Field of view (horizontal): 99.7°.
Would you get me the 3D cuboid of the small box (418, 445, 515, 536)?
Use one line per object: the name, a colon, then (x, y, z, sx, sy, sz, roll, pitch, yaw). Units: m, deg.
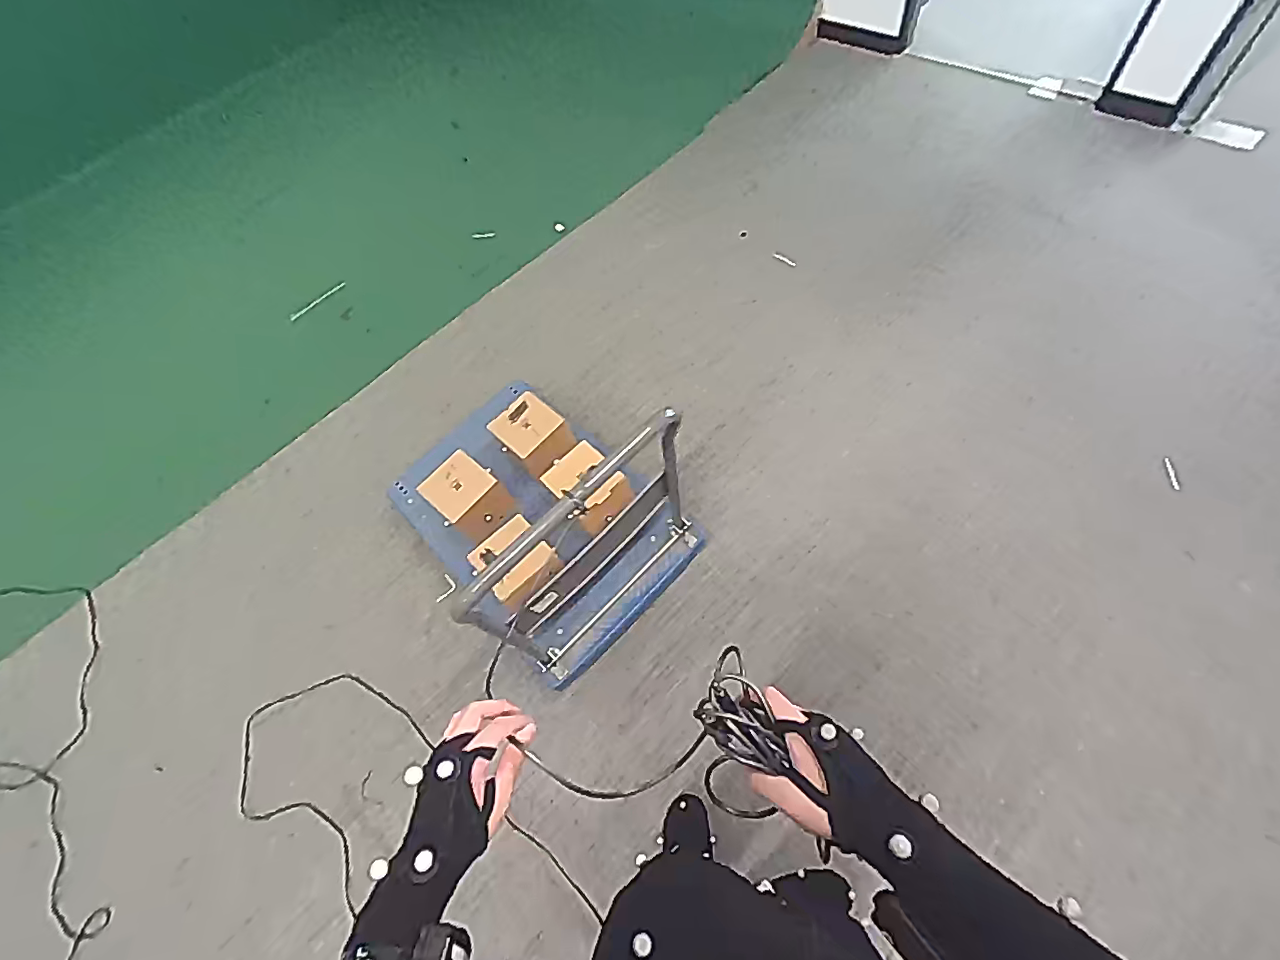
small box: (-0.488, 0.039, 1.547, 0.179, 0.176, 0.168, 37, 73, 24)

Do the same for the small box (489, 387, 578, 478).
small box: (-0.310, -0.136, 1.607, 0.179, 0.176, 0.168, 39, 76, 24)

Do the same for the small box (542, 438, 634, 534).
small box: (-0.138, 0.022, 1.500, 0.168, 0.176, 0.179, -42, 65, -13)
